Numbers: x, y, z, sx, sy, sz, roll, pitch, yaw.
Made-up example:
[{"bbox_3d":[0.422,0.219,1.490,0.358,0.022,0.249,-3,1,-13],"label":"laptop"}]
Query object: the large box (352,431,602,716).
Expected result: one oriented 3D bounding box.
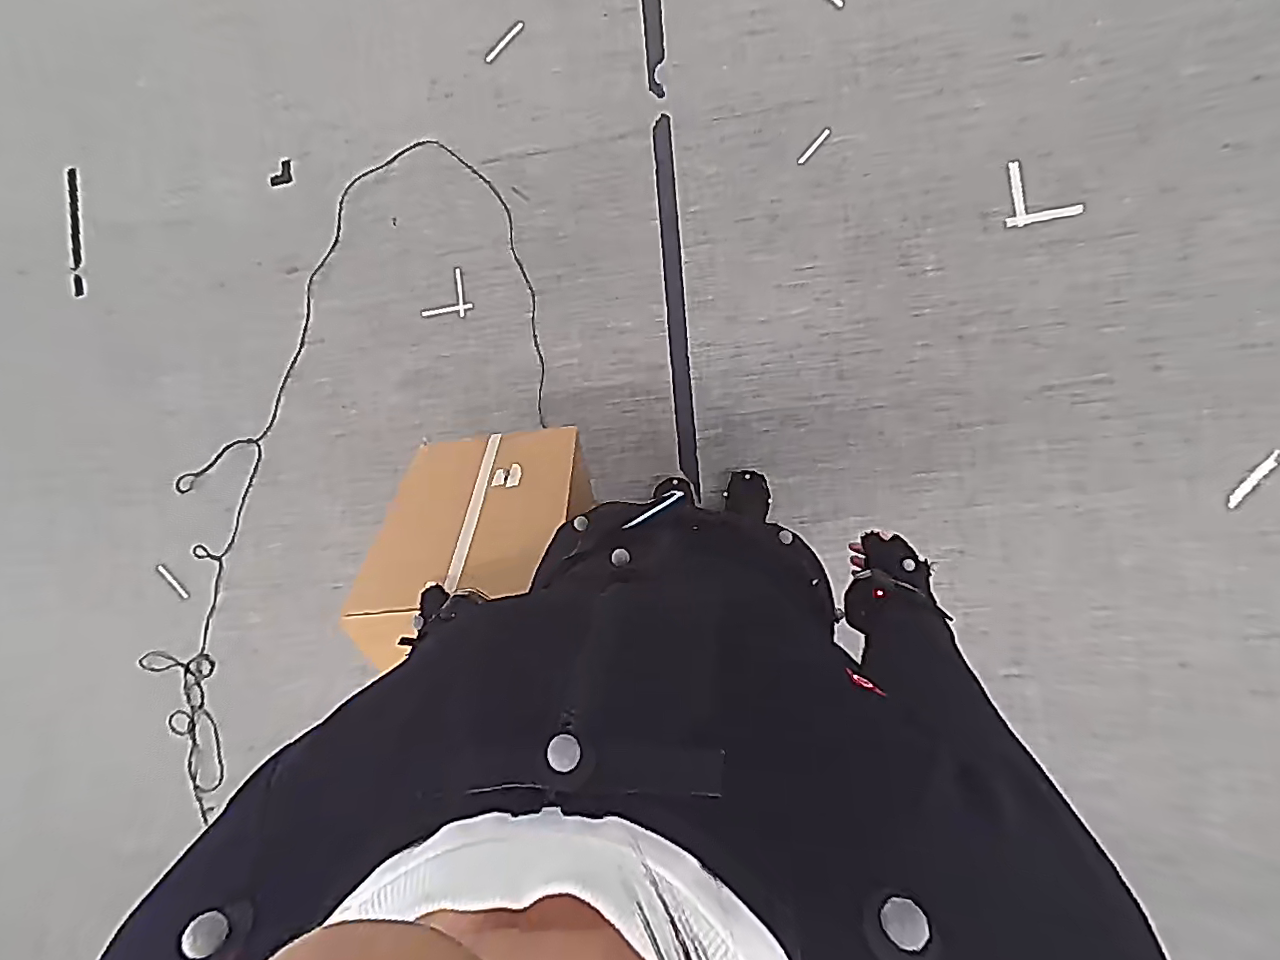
[{"bbox_3d":[-0.246,0.162,0.995,0.320,0.408,0.320,-5,130,3],"label":"large box"}]
